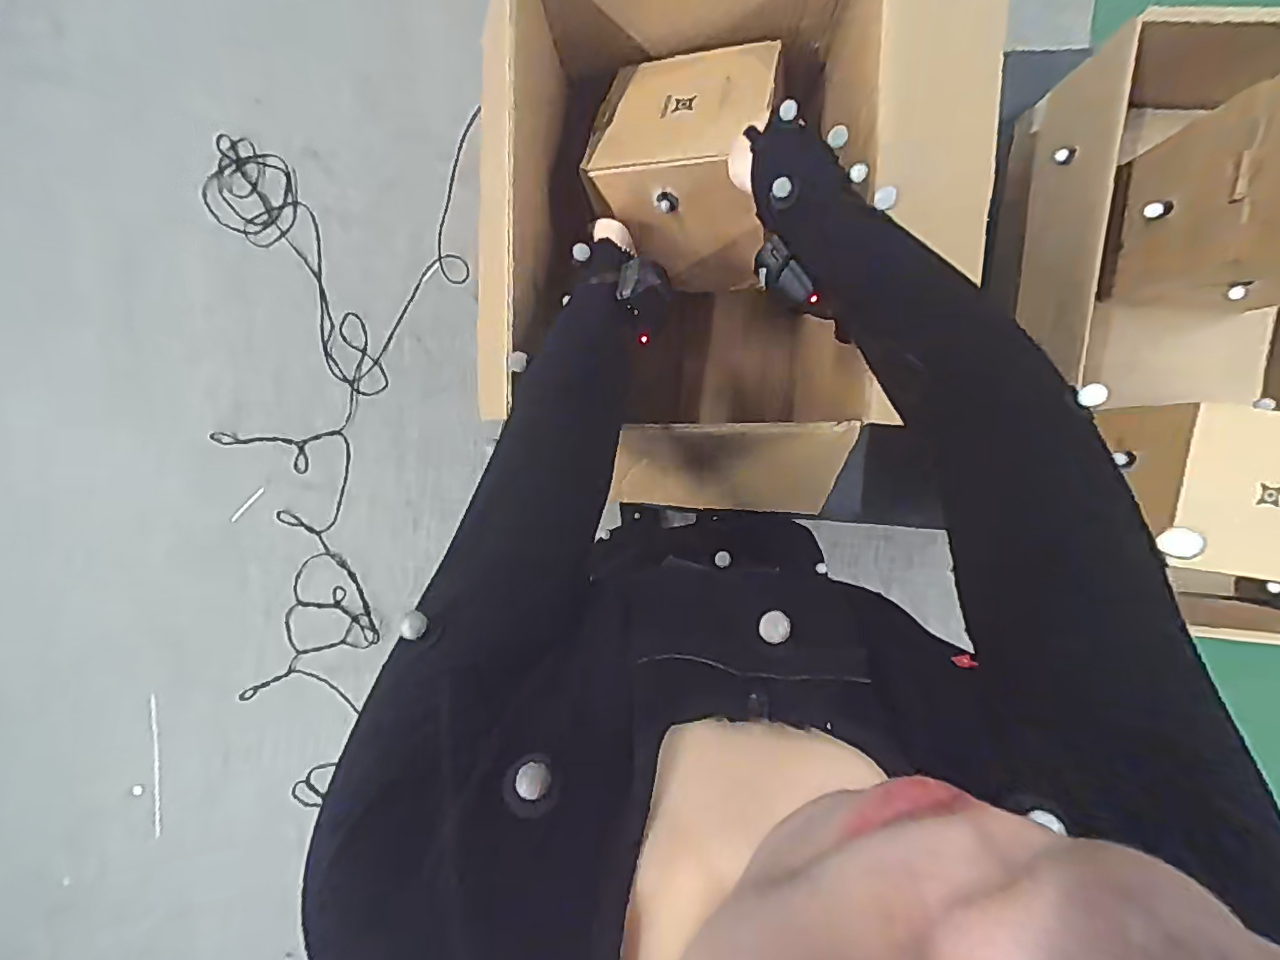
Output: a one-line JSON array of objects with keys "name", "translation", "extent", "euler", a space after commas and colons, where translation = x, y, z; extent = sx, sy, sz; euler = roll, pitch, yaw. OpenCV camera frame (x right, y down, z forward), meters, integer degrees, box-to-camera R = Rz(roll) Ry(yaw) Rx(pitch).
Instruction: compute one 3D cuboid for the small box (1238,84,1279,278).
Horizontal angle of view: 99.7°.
[{"name": "small box", "translation": [0.643, -0.266, 0.421], "extent": [0.168, 0.176, 0.179], "euler": [4, 97, 4]}]
